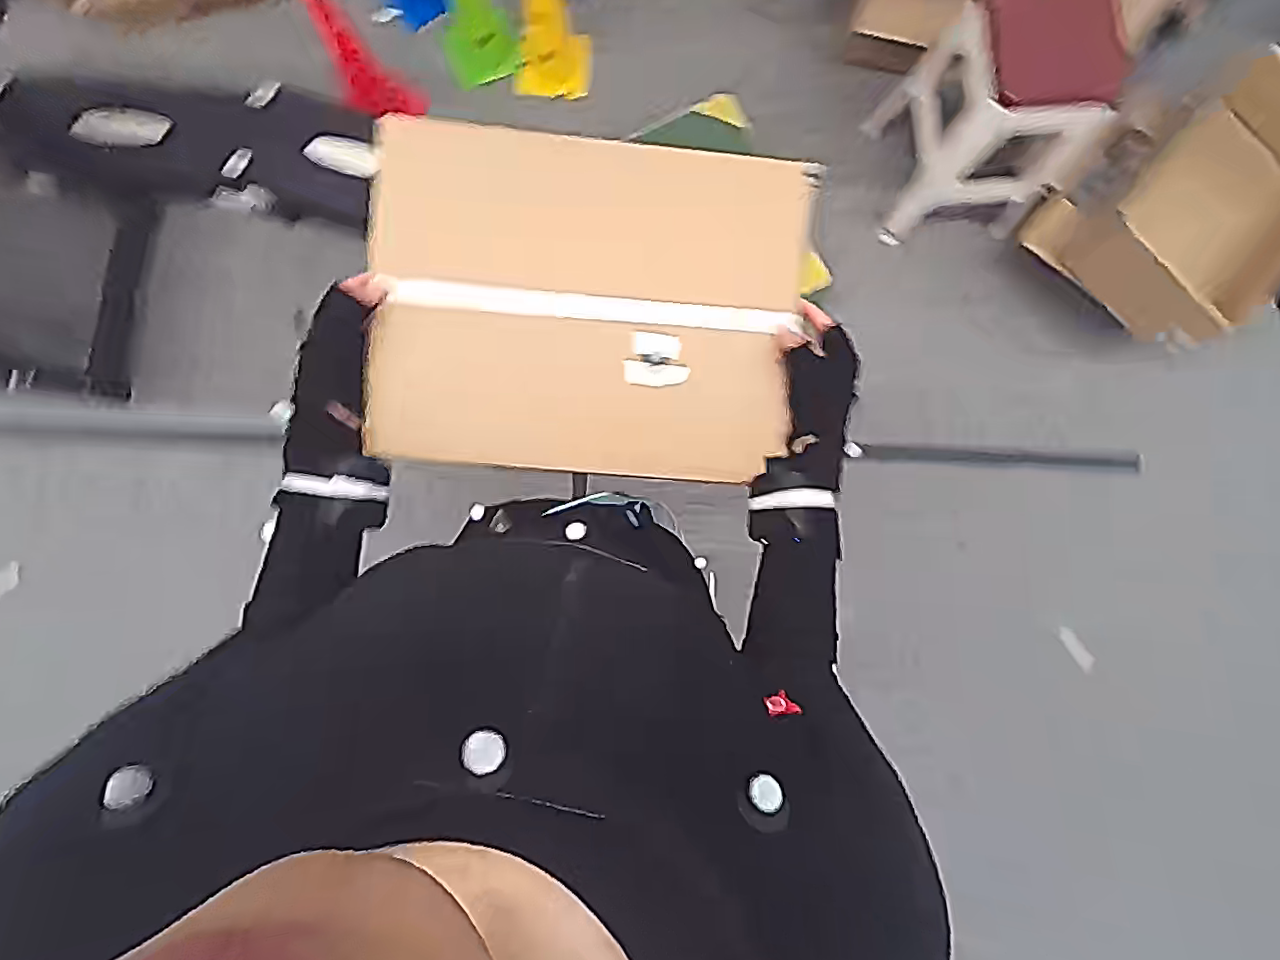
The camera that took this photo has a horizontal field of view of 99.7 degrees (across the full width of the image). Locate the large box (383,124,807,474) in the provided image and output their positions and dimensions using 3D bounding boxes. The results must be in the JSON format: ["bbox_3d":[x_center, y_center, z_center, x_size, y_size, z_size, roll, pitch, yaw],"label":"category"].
[{"bbox_3d":[-0.054,-0.176,0.674,0.408,0.320,0.320,4,93,-5],"label":"large box"}]
